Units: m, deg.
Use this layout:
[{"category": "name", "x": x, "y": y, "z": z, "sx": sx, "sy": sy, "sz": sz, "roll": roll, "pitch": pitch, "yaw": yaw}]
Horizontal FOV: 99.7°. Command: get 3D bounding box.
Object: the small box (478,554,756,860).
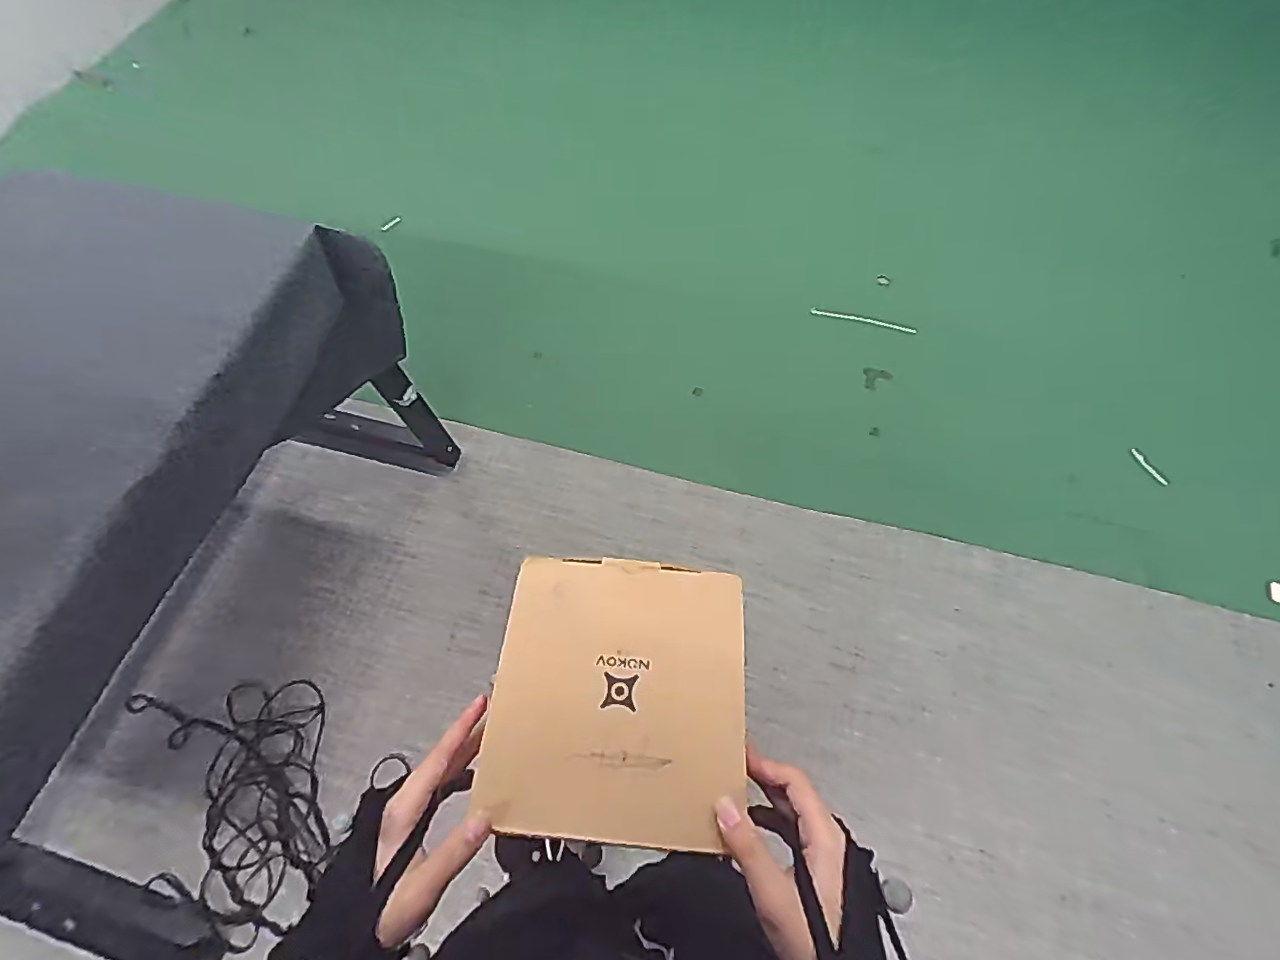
[{"category": "small box", "x": -0.009, "y": 0.179, "z": 0.422, "sx": 0.168, "sy": 0.176, "sz": 0.179, "roll": 5, "pitch": 58, "yaw": 2}]
